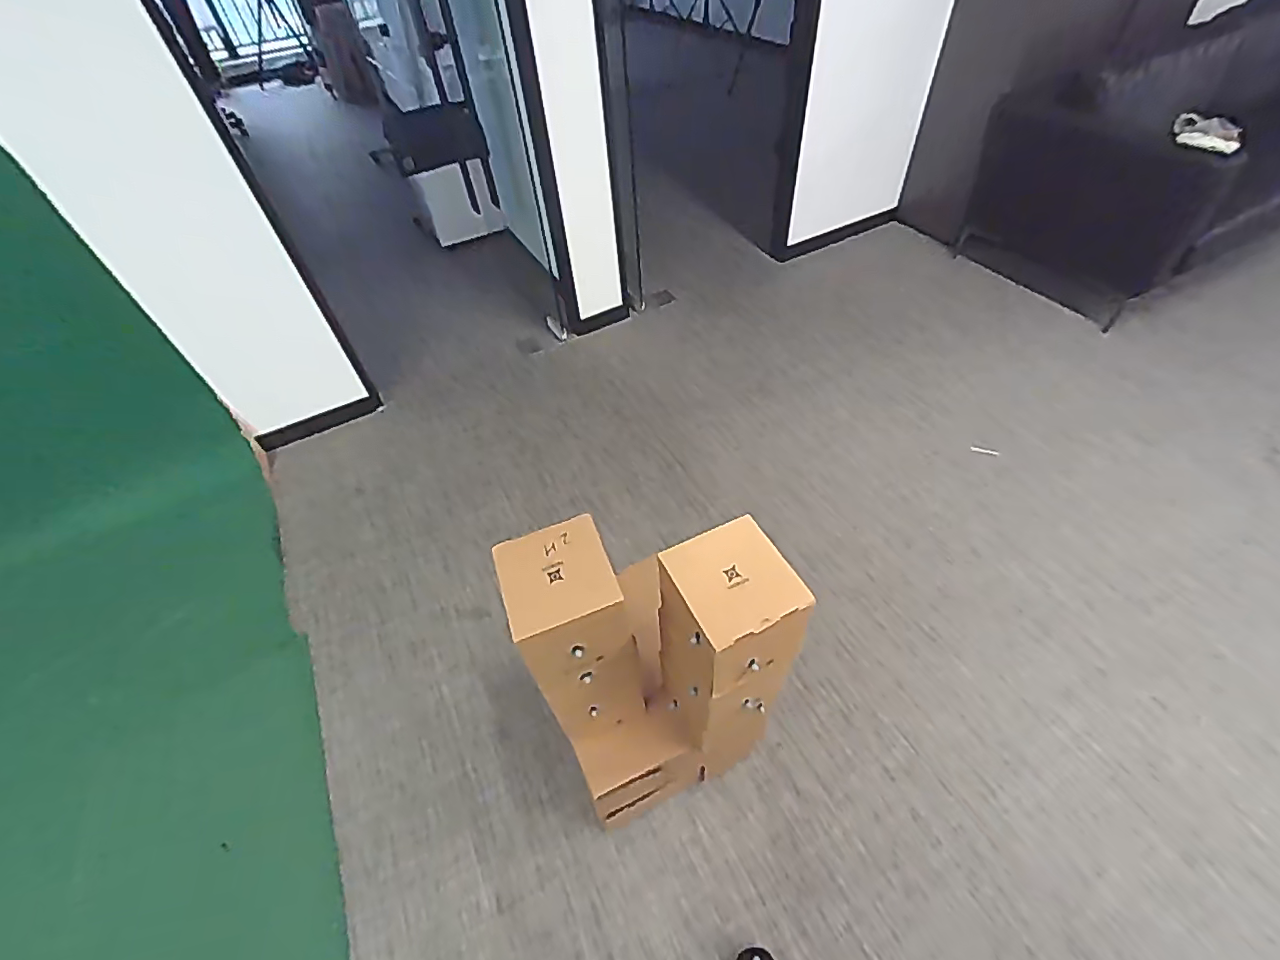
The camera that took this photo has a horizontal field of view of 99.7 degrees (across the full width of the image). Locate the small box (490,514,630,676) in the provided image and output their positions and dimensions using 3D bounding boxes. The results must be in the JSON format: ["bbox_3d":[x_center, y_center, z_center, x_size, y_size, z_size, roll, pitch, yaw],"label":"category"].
[{"bbox_3d":[-0.123,0.190,0.864,0.168,0.176,0.179,-19,49,-11],"label":"small box"}]

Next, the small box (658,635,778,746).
[{"bbox_3d":[0.150,0.400,1.093,0.179,0.176,0.168,-24,50,-15],"label":"small box"}]

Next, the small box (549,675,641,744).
[{"bbox_3d":[-0.109,0.405,1.115,0.168,0.176,0.179,-23,49,-14],"label":"small box"}]

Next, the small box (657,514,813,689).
[{"bbox_3d":[0.137,0.190,0.843,0.168,0.176,0.179,-23,51,-15],"label":"small box"}]

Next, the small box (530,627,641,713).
[{"bbox_3d":[-0.114,0.294,0.990,0.179,0.176,0.168,-26,51,-13],"label":"small box"}]
